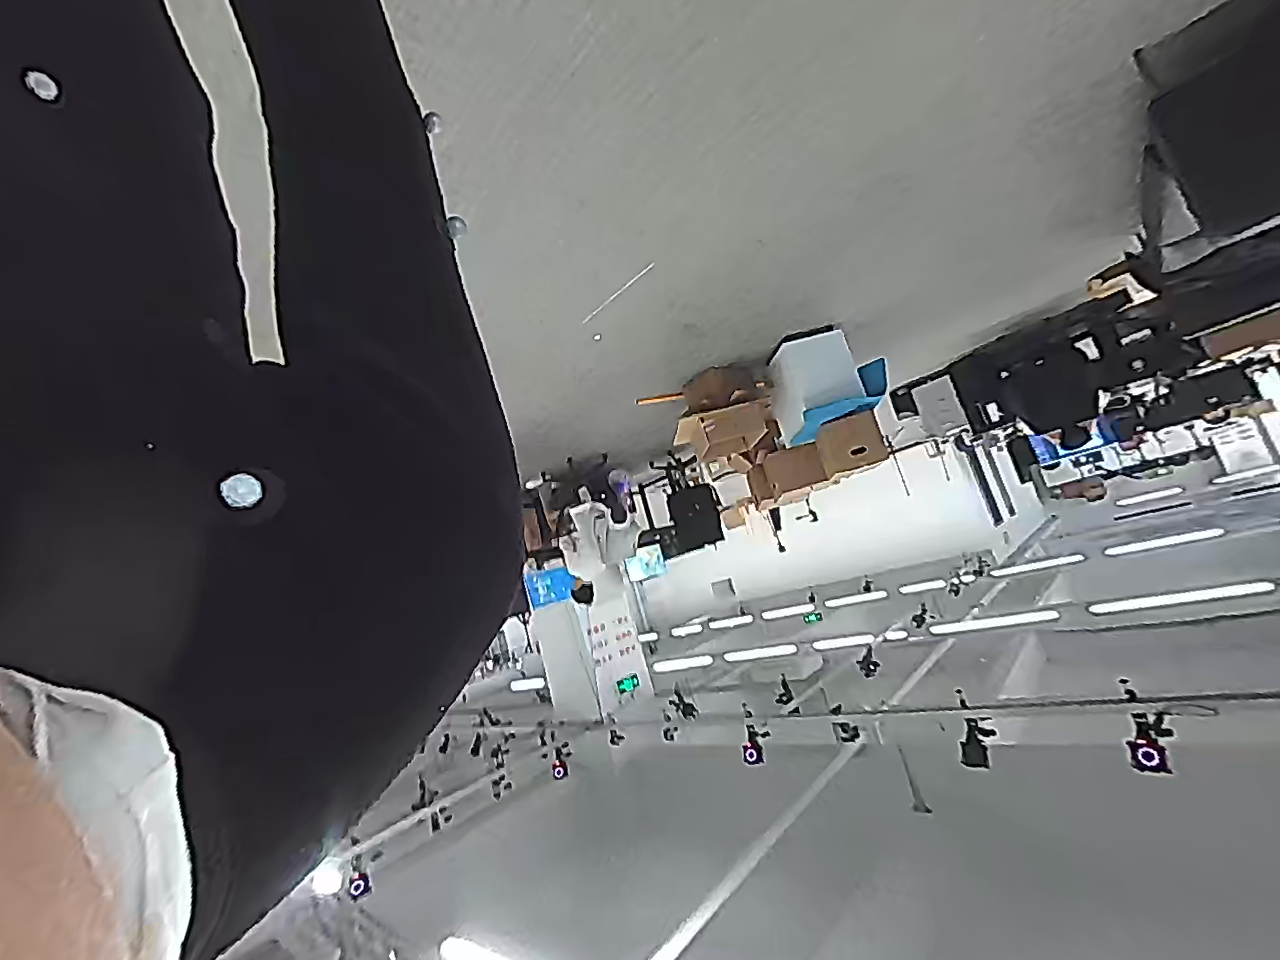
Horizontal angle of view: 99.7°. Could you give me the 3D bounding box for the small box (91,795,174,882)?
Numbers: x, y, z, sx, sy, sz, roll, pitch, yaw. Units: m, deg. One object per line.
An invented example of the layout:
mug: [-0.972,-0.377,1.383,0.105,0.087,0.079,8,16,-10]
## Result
small box: [-1.607,1.122,1.714,0.179,0.176,0.168,-5,165,-44]

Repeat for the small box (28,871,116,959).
small box: [-1.668,1.287,1.586,0.179,0.176,0.168,-23,167,41]
